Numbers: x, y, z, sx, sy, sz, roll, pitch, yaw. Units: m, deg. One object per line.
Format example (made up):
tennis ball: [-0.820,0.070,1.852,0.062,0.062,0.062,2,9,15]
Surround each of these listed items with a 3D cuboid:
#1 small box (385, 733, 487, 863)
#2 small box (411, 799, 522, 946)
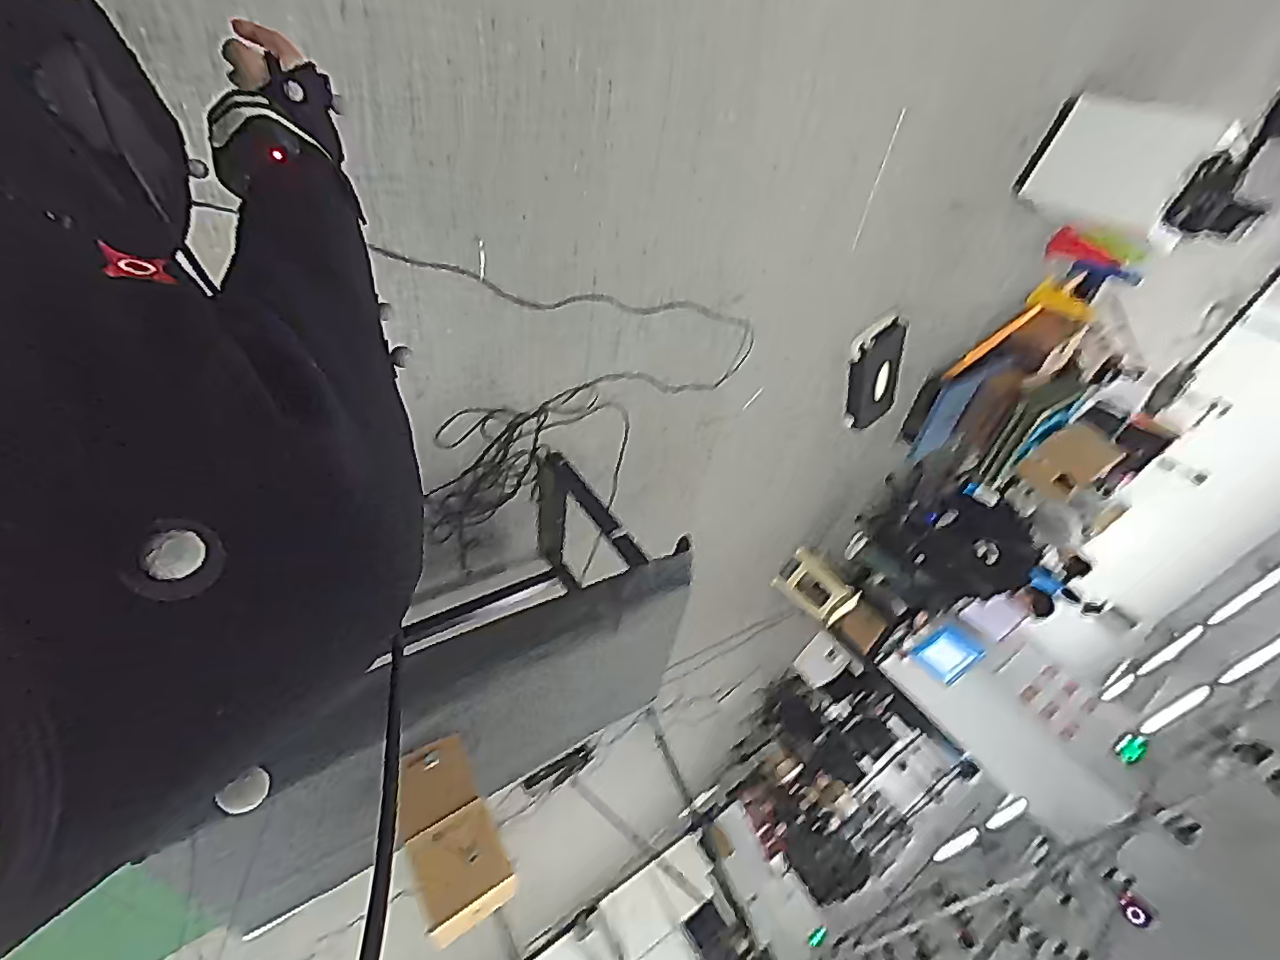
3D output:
small box: [-0.451,0.703,1.205,0.168,0.176,0.179,-19,138,-31]
small box: [-0.355,0.793,1.109,0.168,0.176,0.179,-20,140,-30]
